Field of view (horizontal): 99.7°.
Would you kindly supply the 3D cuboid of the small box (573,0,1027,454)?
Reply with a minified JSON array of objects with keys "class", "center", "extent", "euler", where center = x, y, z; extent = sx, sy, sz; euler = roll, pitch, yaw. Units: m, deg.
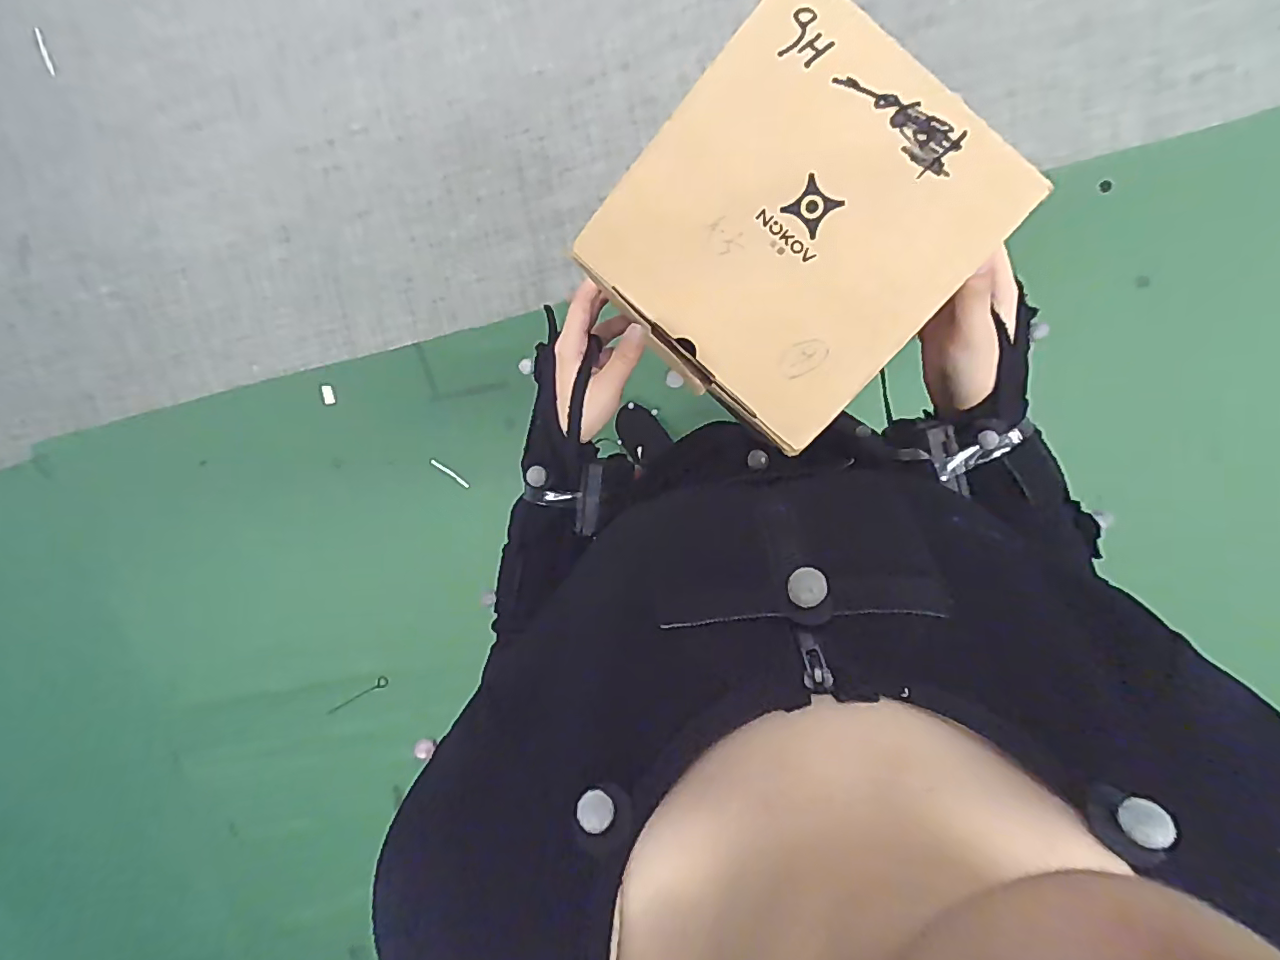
[{"class":"small box","center":[0.088,-0.139,0.360],"extent":[0.168,0.176,0.179],"euler":[42,101,0]}]
